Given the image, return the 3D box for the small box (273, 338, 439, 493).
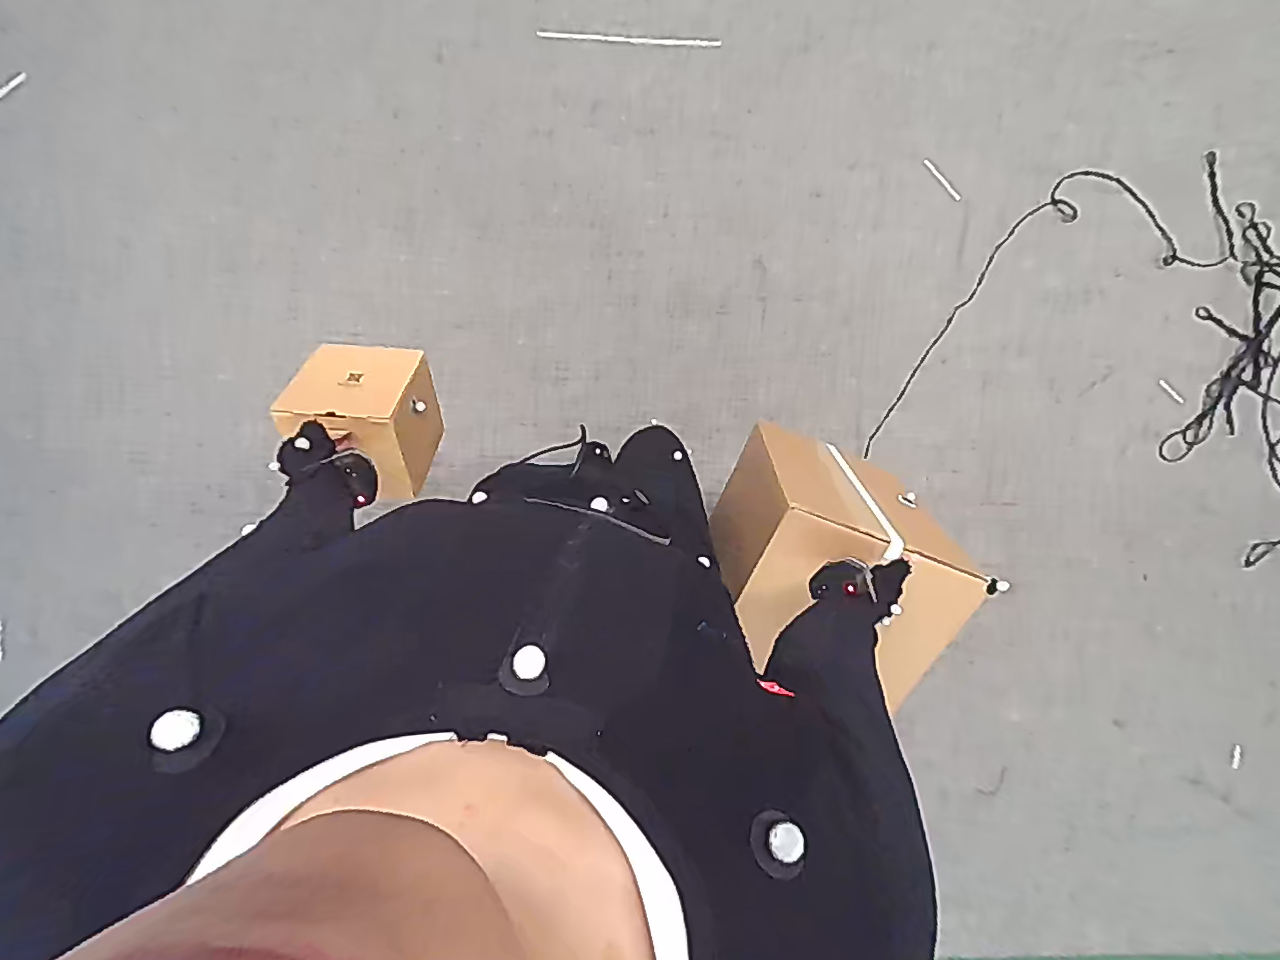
[{"bbox_3d":[-0.434,-0.103,0.864,0.168,0.179,0.176,3,137,-3],"label":"small box"}]
